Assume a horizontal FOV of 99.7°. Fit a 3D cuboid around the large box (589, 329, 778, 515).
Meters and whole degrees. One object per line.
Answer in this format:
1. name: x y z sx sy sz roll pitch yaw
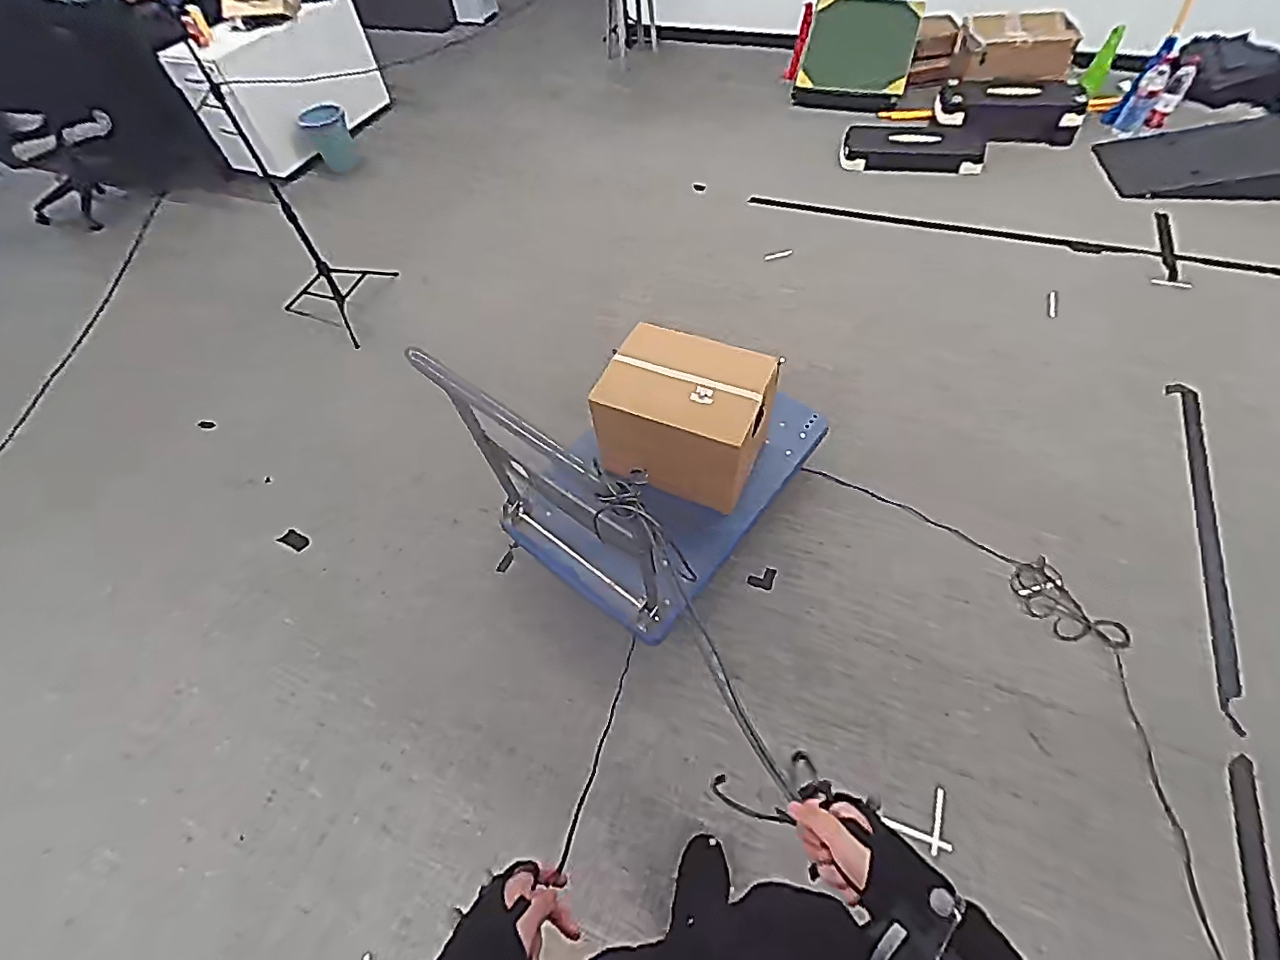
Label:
1. large box: 0.118 -0.158 1.481 0.408 0.320 0.320 20 60 16
